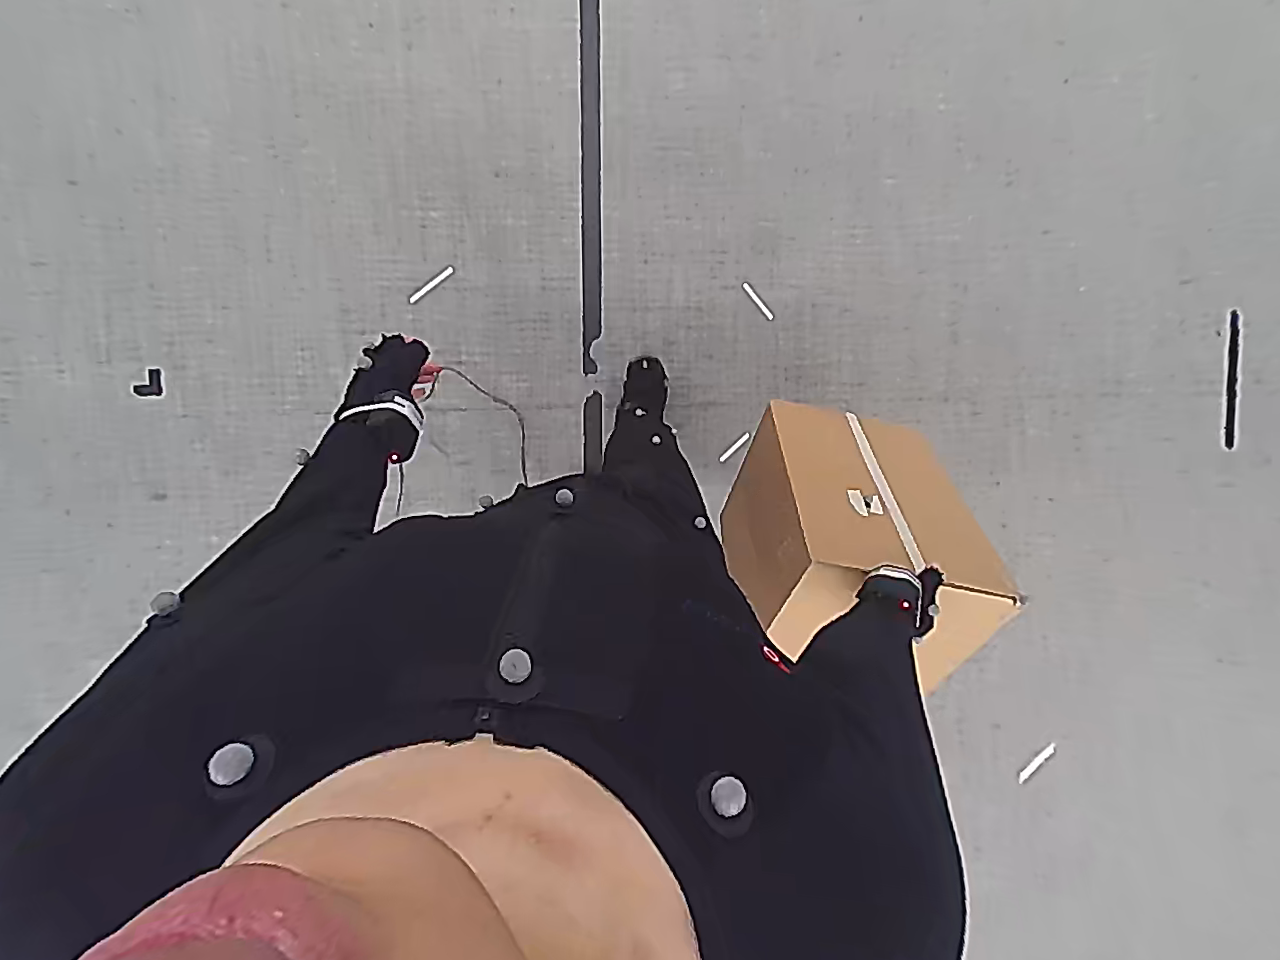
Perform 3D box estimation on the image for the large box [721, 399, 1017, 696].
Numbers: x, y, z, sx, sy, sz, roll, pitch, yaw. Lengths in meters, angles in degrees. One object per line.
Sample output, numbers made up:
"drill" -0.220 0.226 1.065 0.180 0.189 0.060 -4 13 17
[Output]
"large box" 0.353 0.114 0.981 0.320 0.408 0.320 10 131 -6
